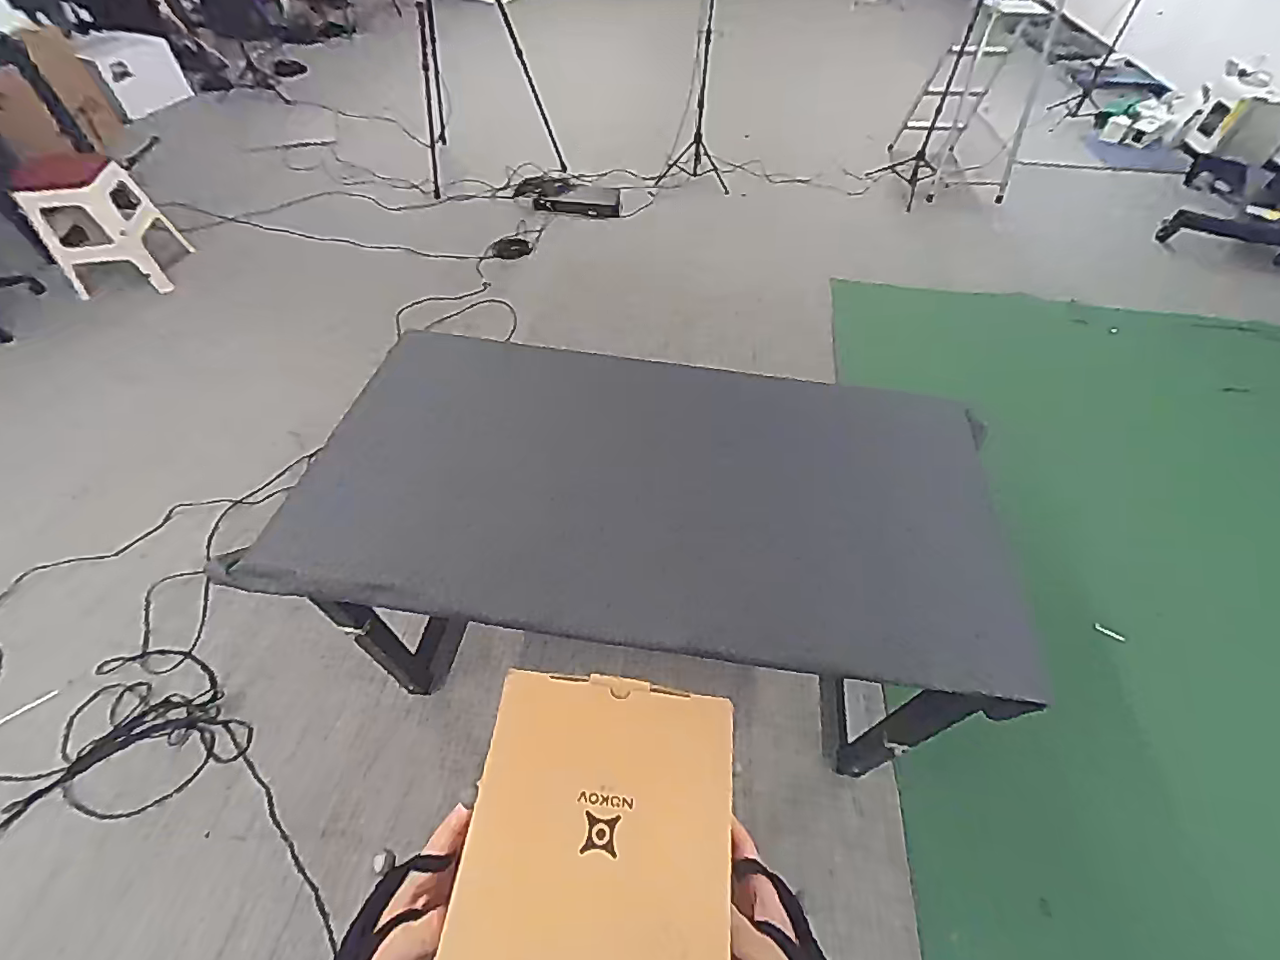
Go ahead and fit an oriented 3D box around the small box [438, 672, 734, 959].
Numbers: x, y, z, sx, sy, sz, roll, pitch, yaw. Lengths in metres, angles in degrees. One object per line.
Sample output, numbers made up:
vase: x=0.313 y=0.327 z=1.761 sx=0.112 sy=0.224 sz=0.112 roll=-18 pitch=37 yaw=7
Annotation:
small box: x=-0.028 y=0.268 z=0.407 sx=0.168 sy=0.176 sz=0.179 roll=8 pitch=52 yaw=0
